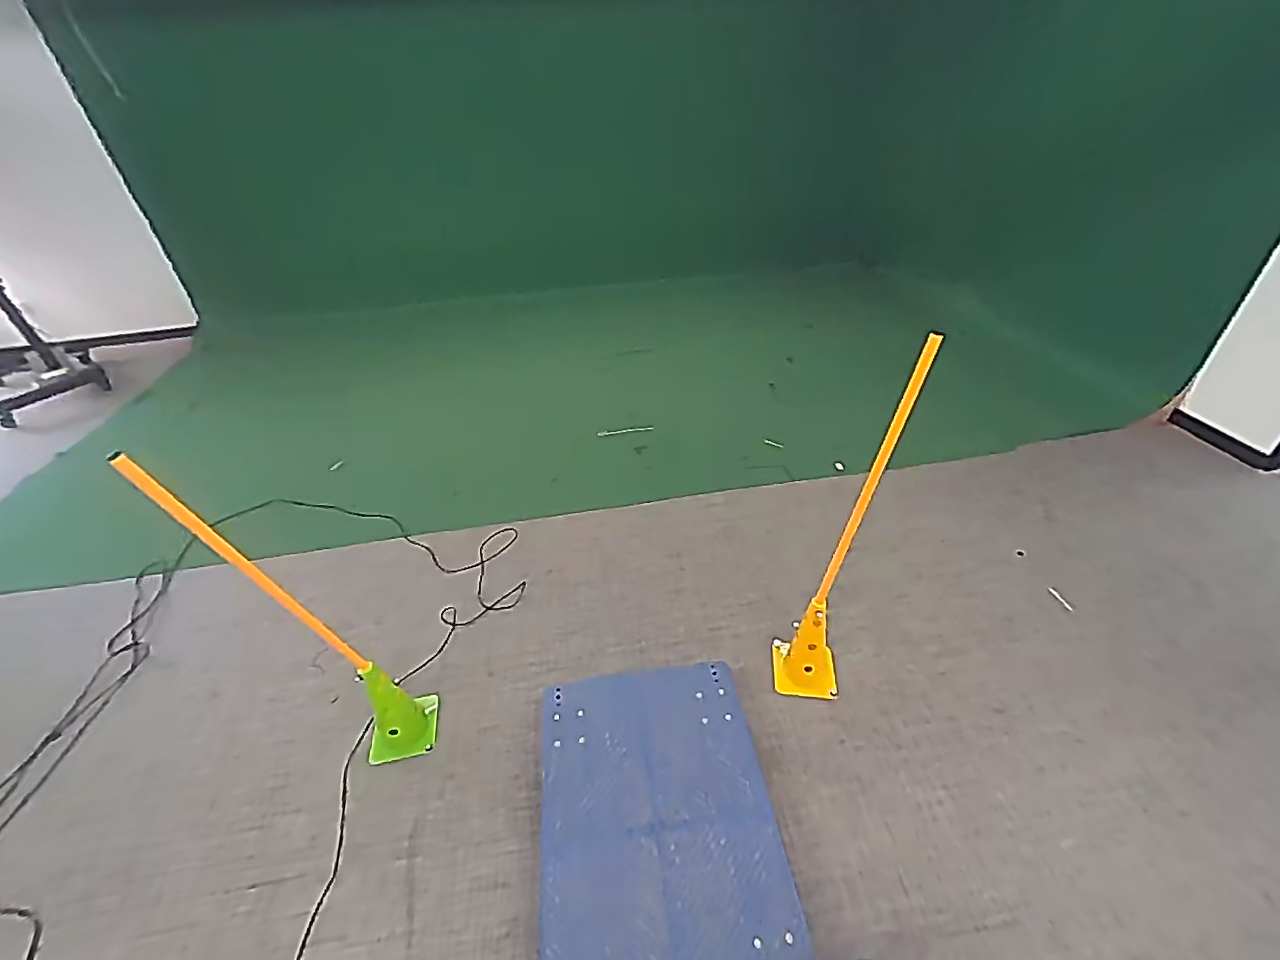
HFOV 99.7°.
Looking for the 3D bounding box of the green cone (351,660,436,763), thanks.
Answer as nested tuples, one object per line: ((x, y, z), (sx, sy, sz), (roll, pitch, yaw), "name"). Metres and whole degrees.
((-0.779, 0.663, 1.642), (0.202, 0.368, 0.200), (-12, 38, -7), "green cone")
